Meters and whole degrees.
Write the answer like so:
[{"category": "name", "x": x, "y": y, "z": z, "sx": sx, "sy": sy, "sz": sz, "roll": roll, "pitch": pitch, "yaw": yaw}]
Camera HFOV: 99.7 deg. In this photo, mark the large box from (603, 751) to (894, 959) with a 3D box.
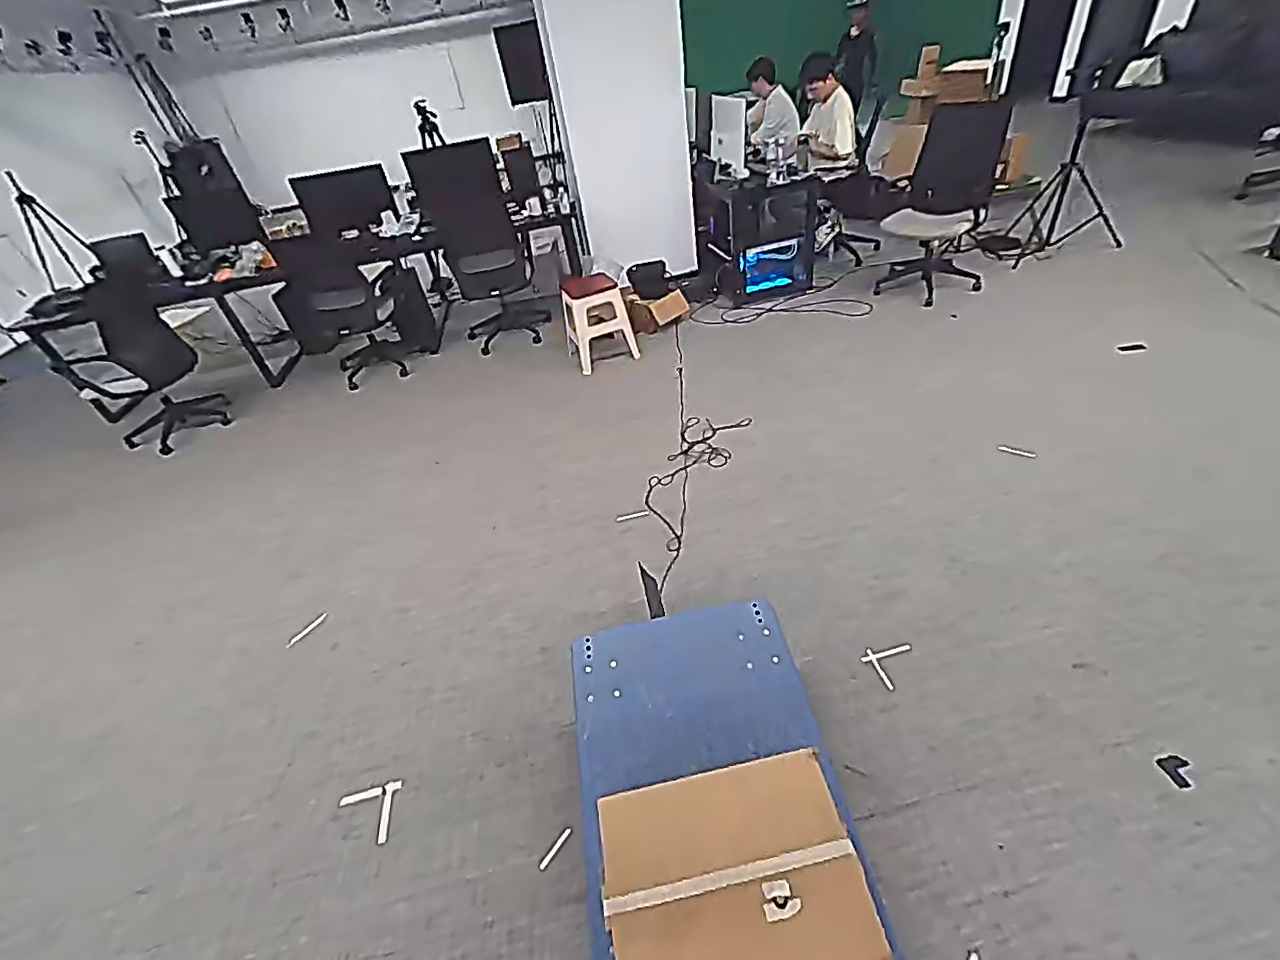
[{"category": "large box", "x": 0.171, "y": 0.752, "z": 0.990, "sx": 0.408, "sy": 0.320, "sz": 0.320, "roll": -13, "pitch": 47, "yaw": -2}]
